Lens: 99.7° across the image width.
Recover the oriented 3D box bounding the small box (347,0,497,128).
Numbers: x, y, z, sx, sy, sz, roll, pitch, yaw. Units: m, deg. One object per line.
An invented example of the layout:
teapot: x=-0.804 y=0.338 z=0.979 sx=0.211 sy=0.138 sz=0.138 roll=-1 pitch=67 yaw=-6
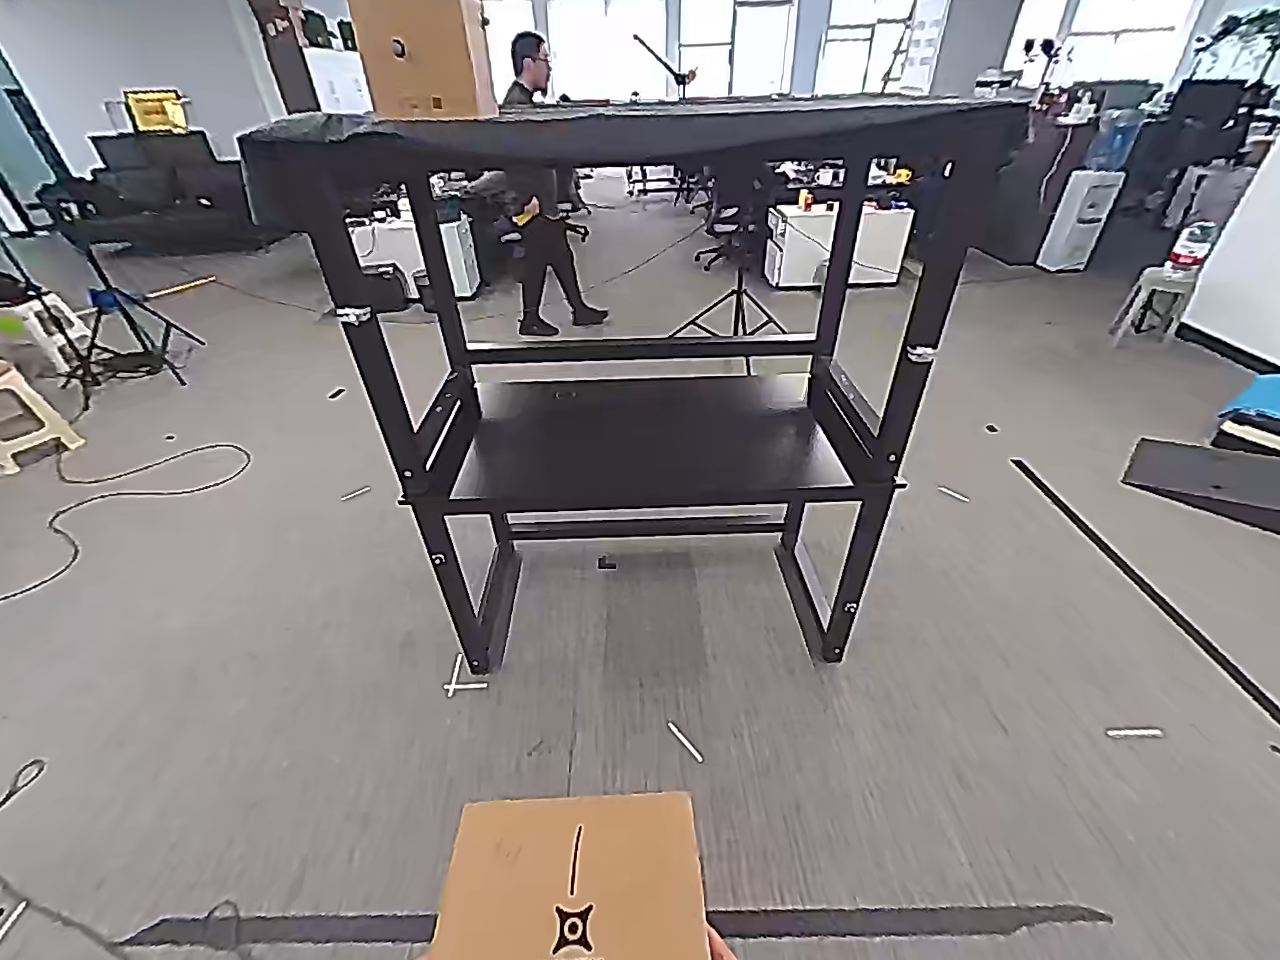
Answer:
small box: x=-0.339 y=-0.680 z=0.883 sx=0.168 sy=0.176 sz=0.179 roll=-2 pitch=34 yaw=-1

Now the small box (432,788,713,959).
small box: x=-0.038 y=0.340 z=0.359 sx=0.168 sy=0.176 sz=0.179 roll=-1 pitch=30 yaw=-2
